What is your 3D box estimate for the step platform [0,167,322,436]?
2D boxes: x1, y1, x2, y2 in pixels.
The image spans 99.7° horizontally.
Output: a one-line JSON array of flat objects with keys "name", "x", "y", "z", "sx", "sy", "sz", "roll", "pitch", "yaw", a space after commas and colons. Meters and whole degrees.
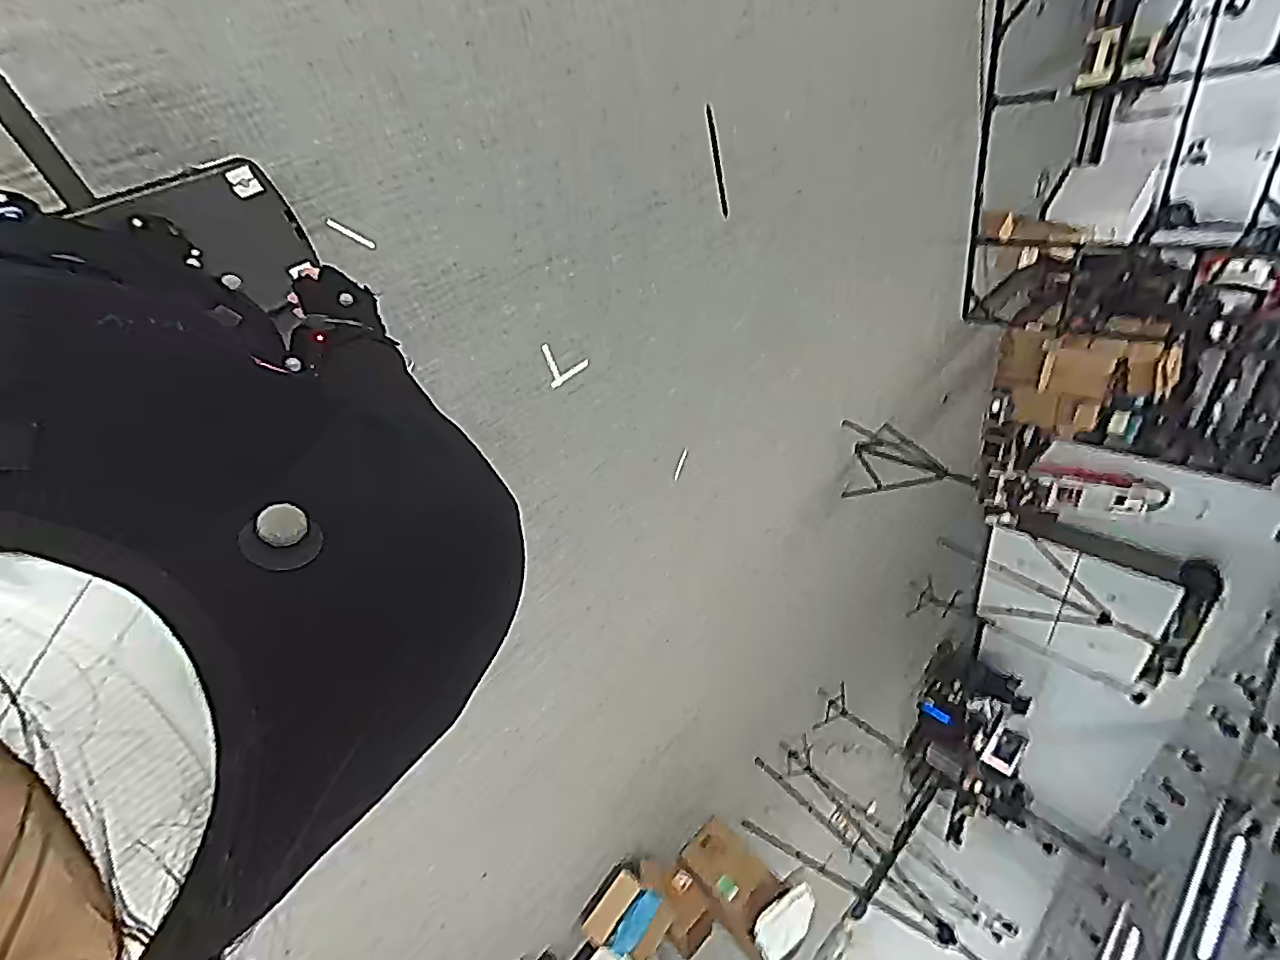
[{"name": "step platform", "x": -1.038, "y": -0.379, "z": 1.097, "sx": 0.684, "sy": 0.204, "sz": 0.286, "roll": -40, "pitch": 133, "yaw": -25}]
